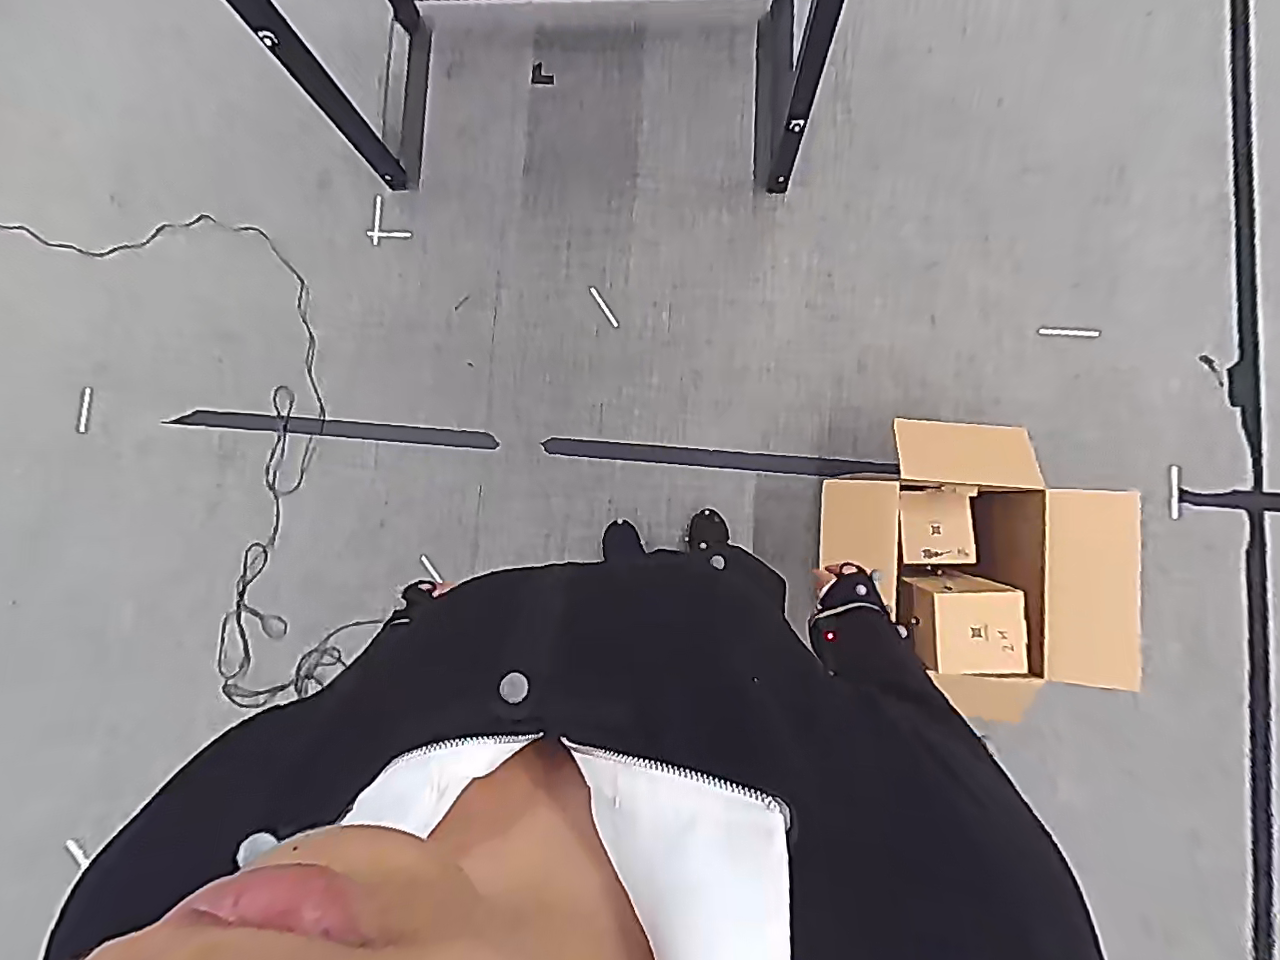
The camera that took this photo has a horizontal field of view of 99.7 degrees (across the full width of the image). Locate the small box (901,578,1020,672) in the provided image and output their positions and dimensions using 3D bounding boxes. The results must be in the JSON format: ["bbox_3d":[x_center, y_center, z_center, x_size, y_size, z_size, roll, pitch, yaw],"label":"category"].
[{"bbox_3d":[0.684,0.309,1.176,0.179,0.176,0.168,-2,89,4],"label":"small box"}]
